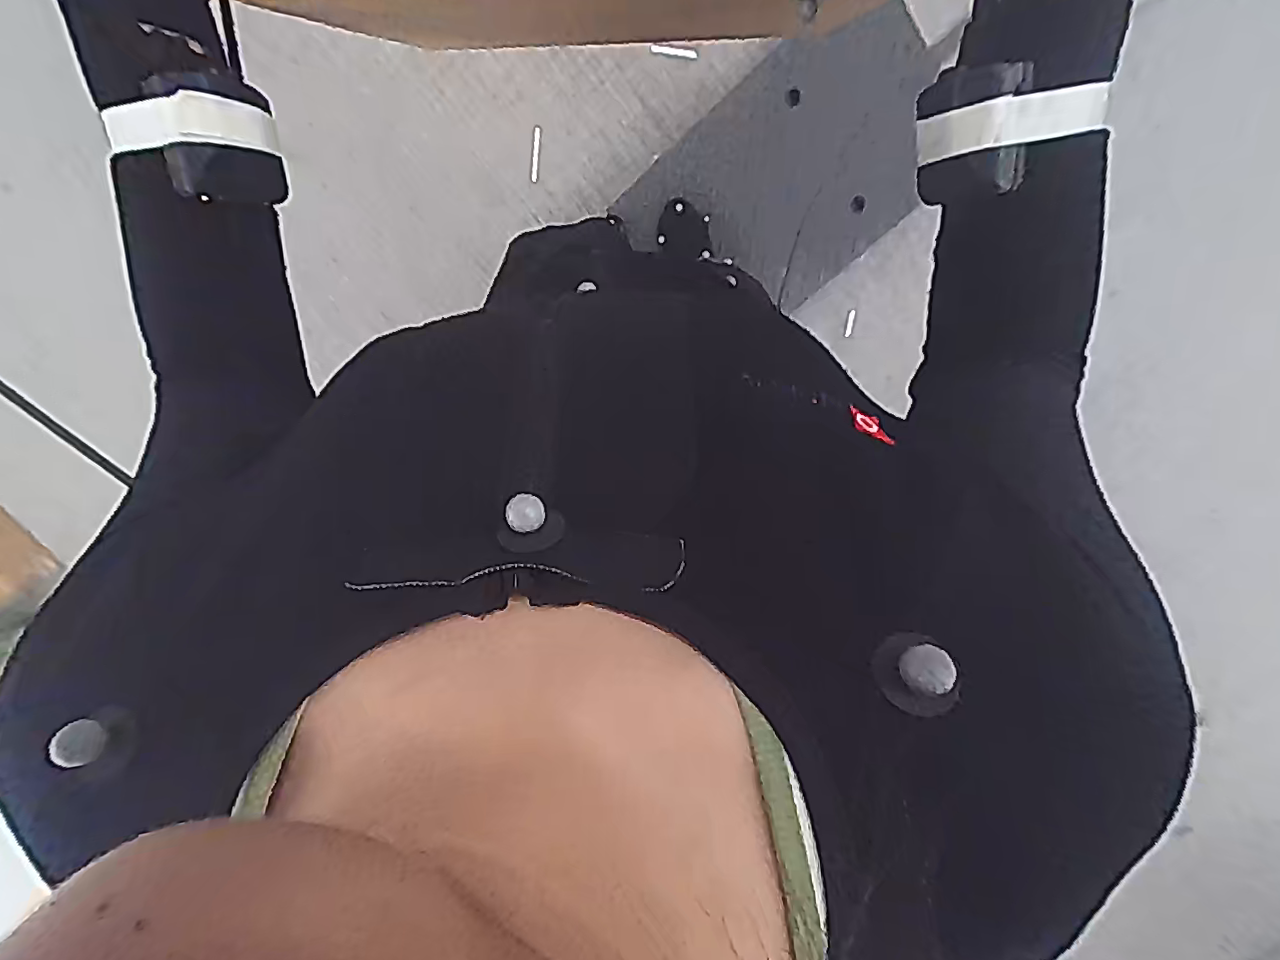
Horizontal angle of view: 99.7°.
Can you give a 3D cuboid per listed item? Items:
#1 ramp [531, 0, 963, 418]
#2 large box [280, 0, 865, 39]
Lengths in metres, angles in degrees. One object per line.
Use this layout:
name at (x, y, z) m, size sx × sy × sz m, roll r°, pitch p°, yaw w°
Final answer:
ramp at (0.256, -0.648, 1.321) m, size 0.991 × 0.206 × 0.509 m, roll -38°, pitch 109°, yaw 19°
large box at (-0.022, -0.482, 0.330) m, size 0.408 × 0.320 × 0.320 m, roll 0°, pitch 124°, yaw 2°
